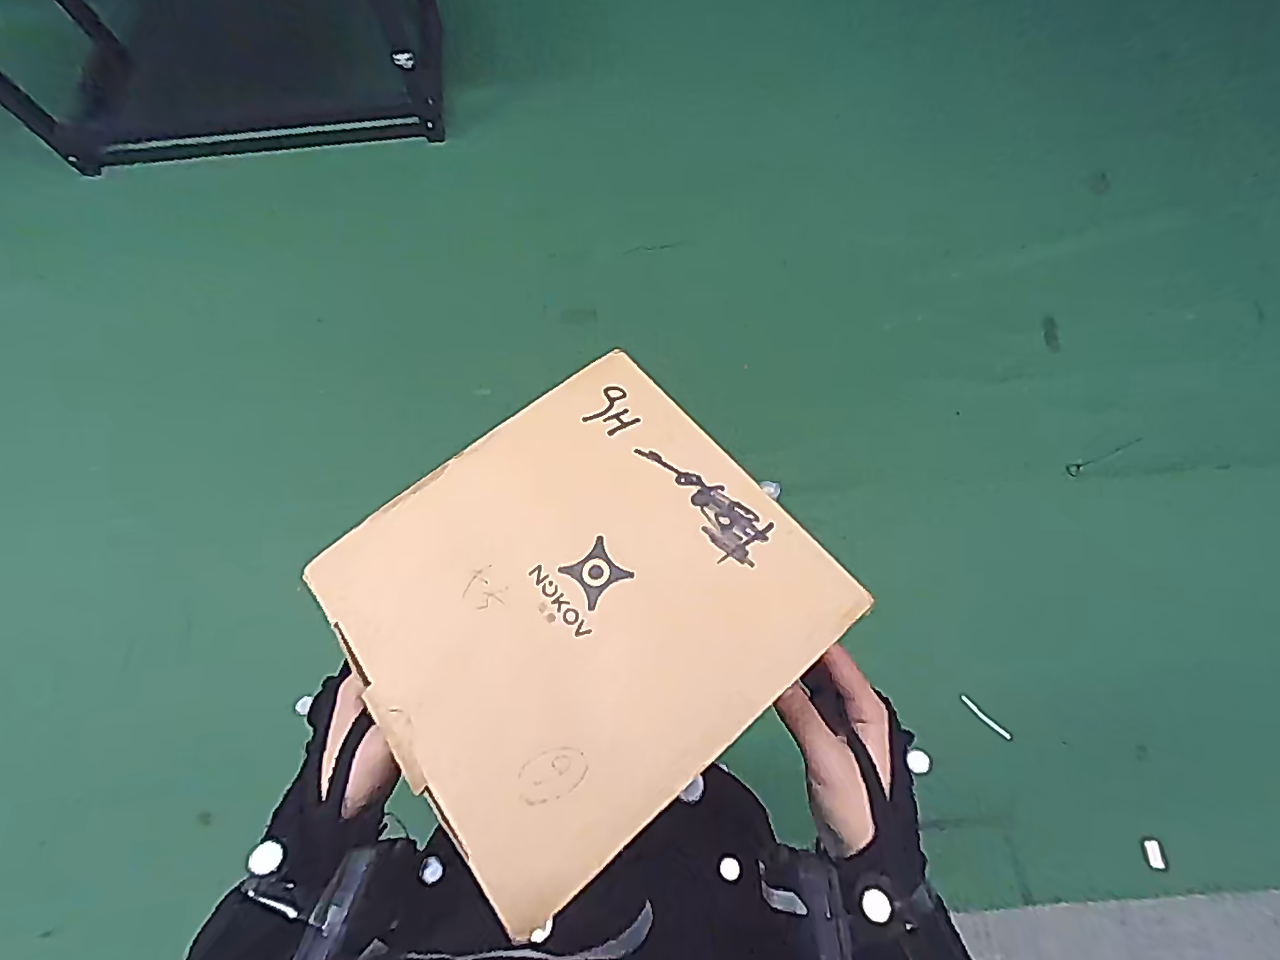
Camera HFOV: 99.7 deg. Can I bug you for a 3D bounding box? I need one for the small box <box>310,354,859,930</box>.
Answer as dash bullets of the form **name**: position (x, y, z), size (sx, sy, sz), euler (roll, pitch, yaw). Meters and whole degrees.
- **small box**: position (-0.022, 0.076, 0.295), size (0.179, 0.176, 0.168), euler (-38, 70, -12)
